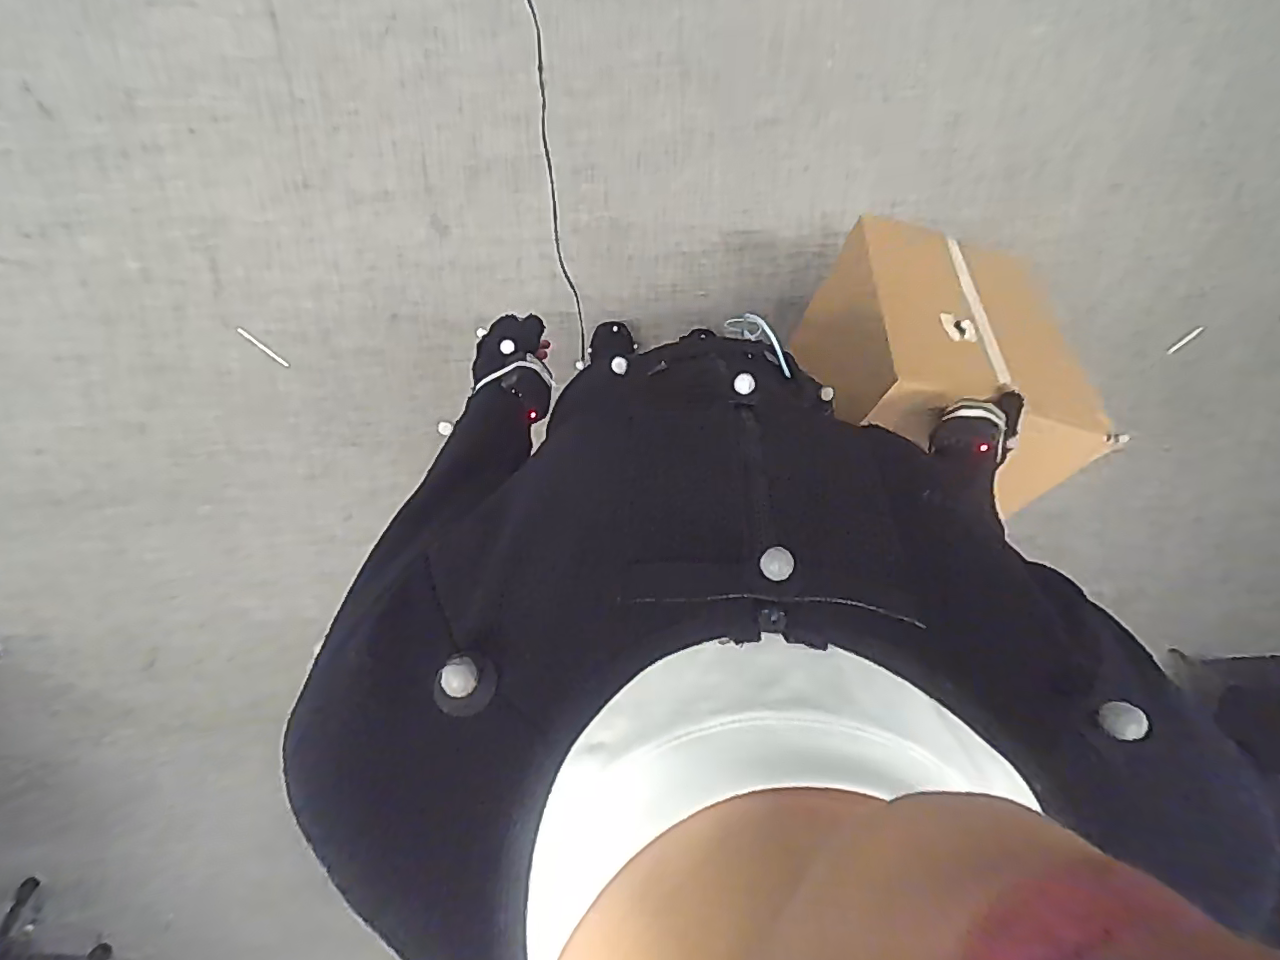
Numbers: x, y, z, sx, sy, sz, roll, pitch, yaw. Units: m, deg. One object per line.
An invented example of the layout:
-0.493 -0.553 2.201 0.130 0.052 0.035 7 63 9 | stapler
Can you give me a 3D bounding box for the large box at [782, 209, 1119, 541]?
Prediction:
0.449 -0.165 0.899 0.320 0.408 0.320 12 145 -6 | large box
